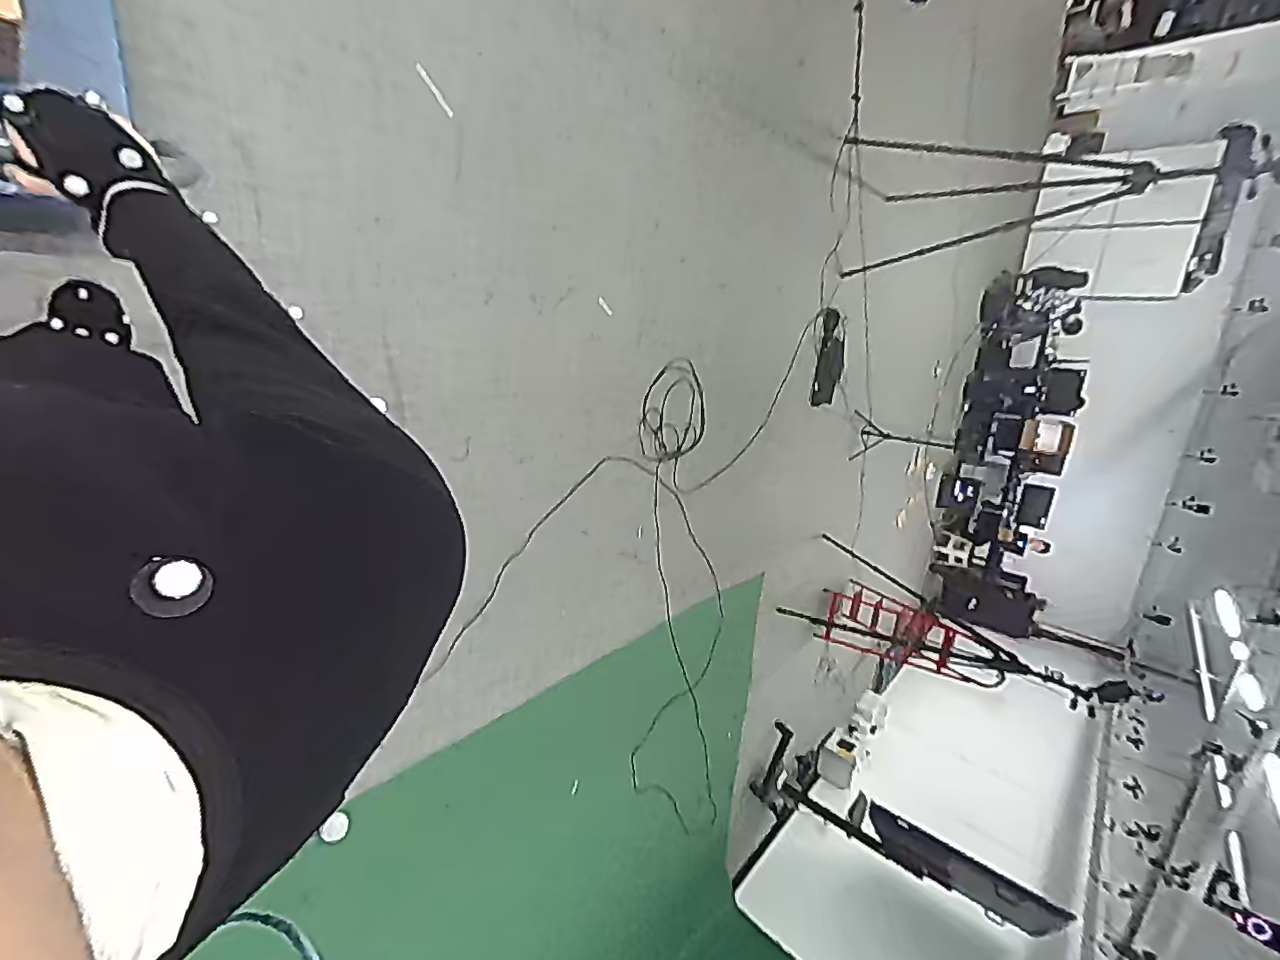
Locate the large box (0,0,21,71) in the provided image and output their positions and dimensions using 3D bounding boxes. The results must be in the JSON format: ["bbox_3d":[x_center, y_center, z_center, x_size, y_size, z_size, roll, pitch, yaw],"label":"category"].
[{"bbox_3d":[-1.019,-0.791,0.633,0.320,0.320,0.408,-17,116,-45],"label":"large box"}]
